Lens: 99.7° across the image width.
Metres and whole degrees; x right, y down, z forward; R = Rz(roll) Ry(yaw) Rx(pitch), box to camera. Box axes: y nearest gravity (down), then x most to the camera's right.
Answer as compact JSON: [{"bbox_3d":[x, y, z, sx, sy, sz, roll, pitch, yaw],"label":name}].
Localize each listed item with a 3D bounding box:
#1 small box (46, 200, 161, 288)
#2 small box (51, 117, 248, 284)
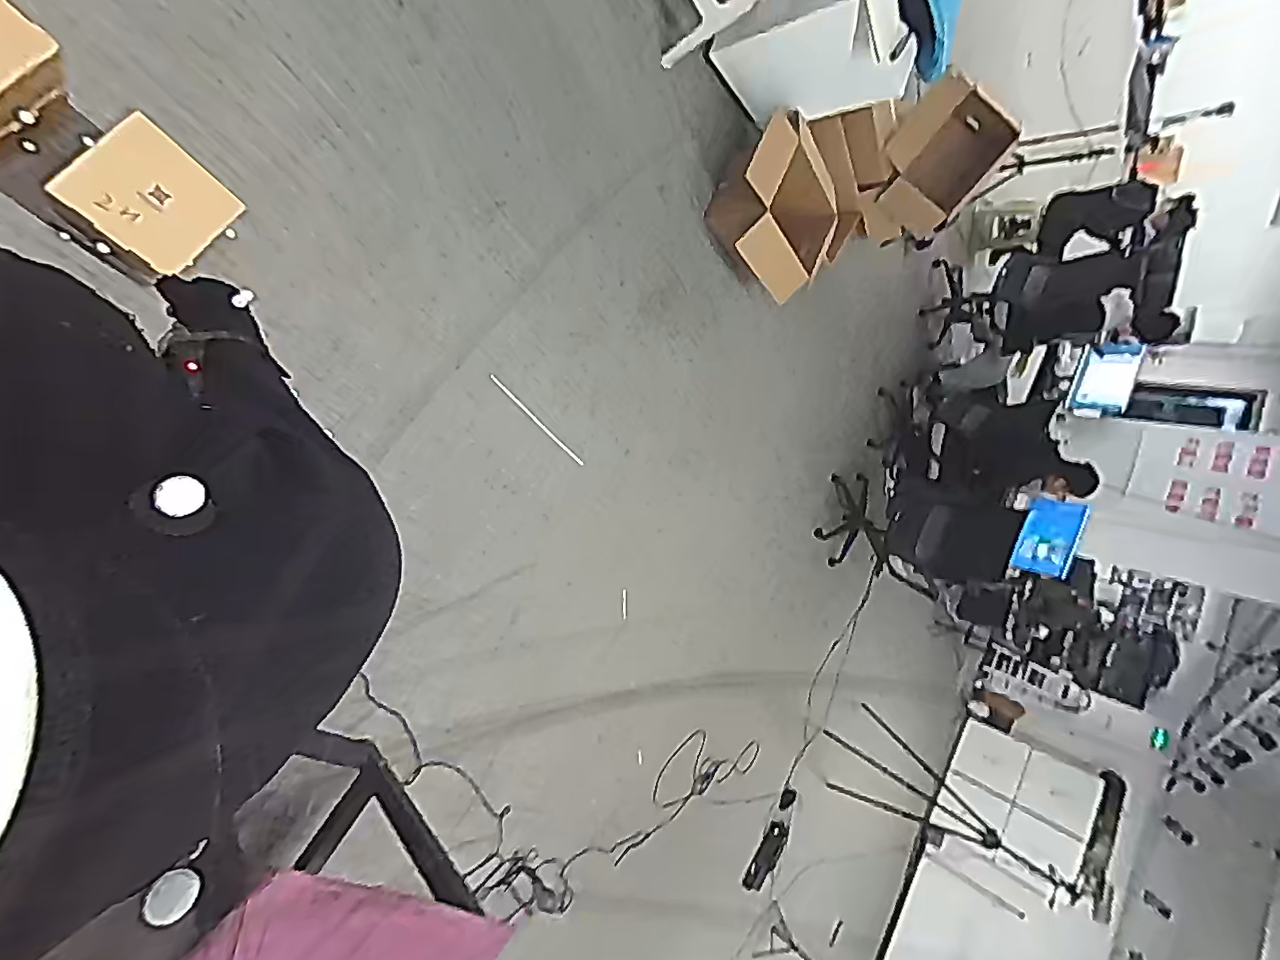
[{"bbox_3d":[-0.918,-0.473,0.992,0.168,0.176,0.179,47,68,-43],"label":"small box"},{"bbox_3d":[-0.798,-0.444,0.884,0.179,0.176,0.168,-58,135,-16],"label":"small box"}]
